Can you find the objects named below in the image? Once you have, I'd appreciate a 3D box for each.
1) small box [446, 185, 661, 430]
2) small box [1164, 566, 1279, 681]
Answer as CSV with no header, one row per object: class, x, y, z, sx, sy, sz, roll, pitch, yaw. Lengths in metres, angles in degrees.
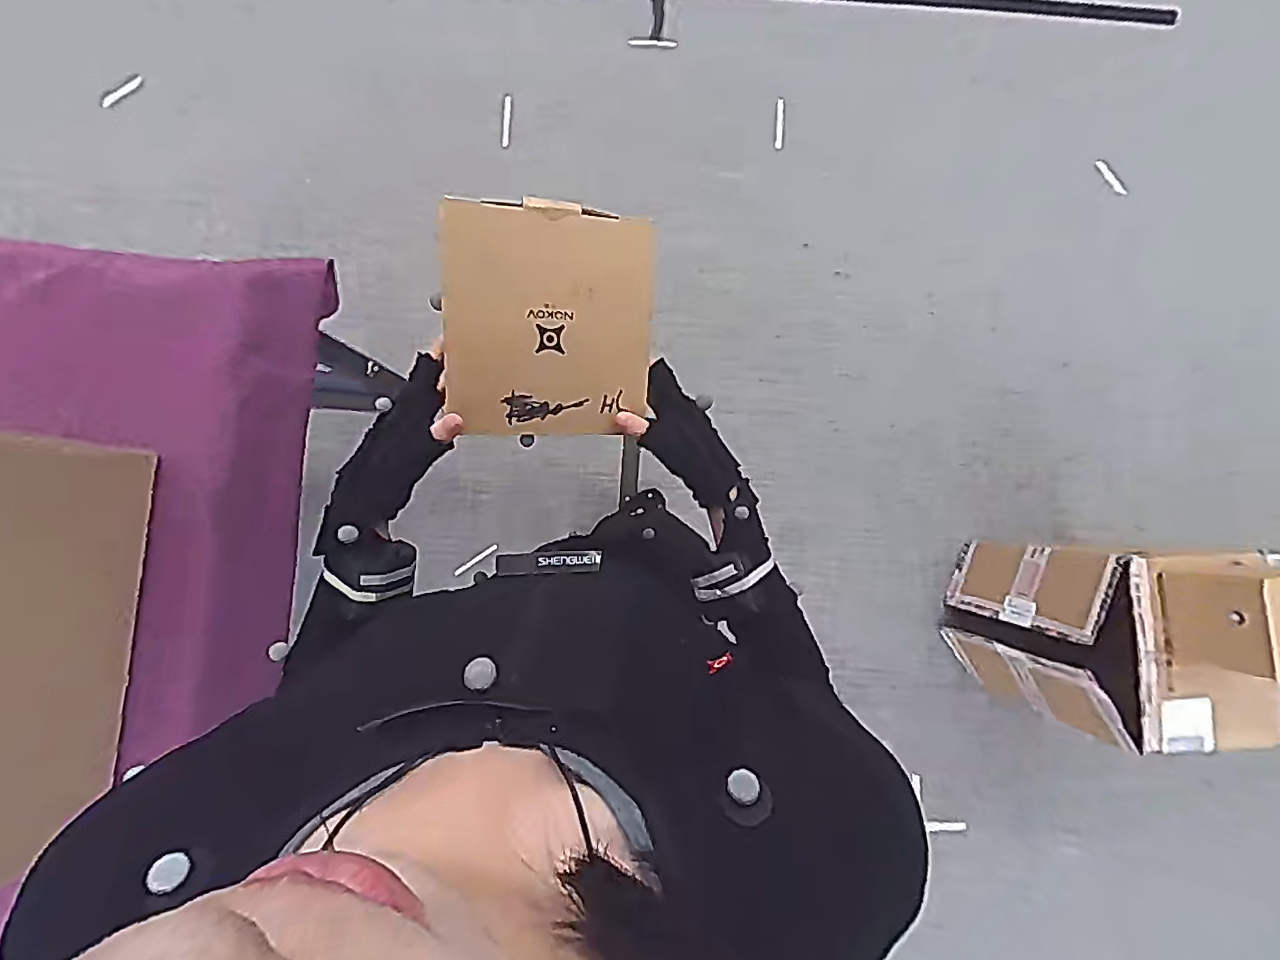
small box,-0.088,-0.146,0.499,0.168,0.176,0.179,-1,105,-15
small box,1.120,0.251,0.990,0.168,0.176,0.179,-4,86,-4
